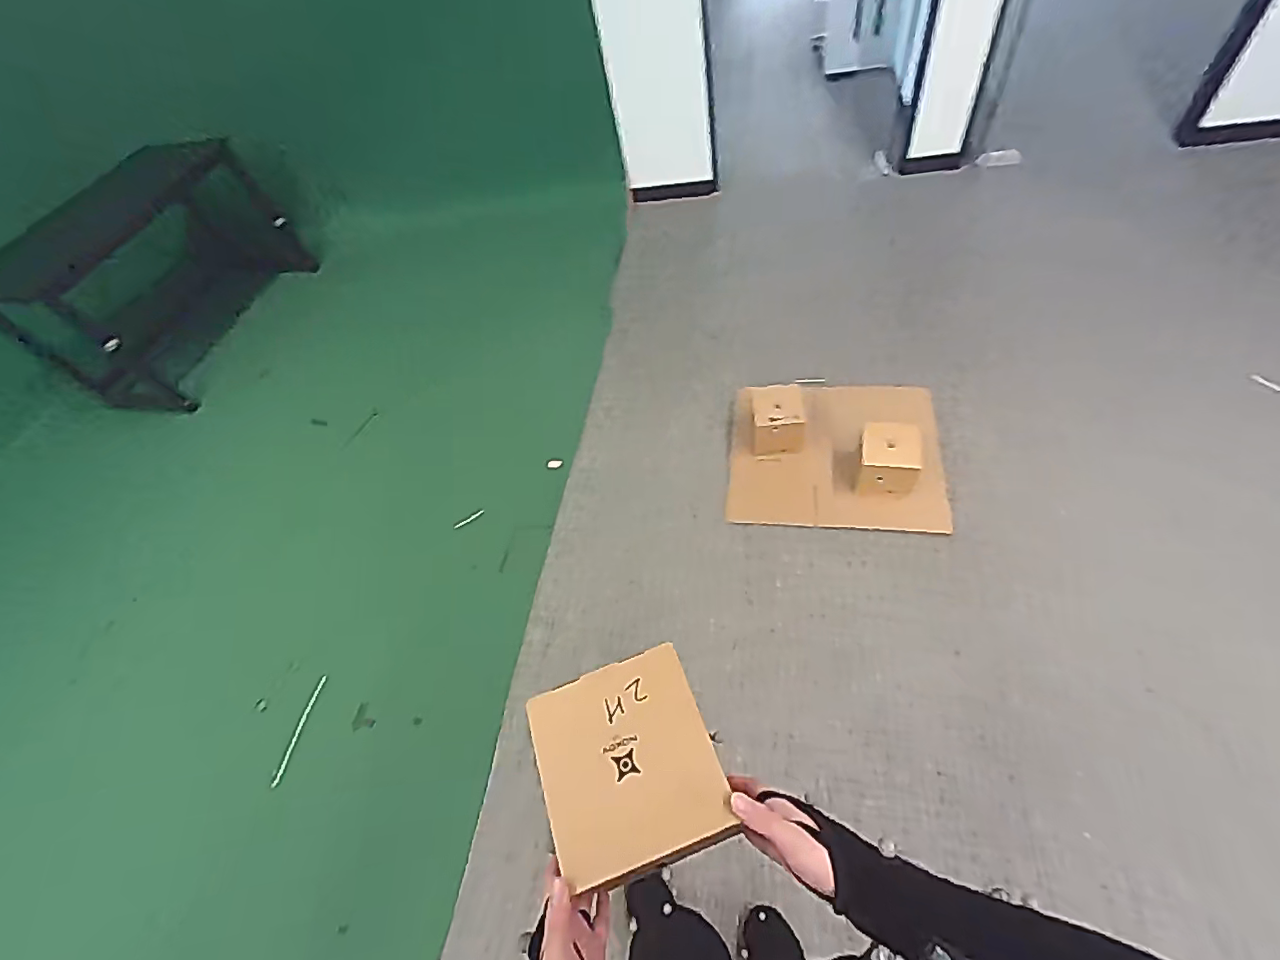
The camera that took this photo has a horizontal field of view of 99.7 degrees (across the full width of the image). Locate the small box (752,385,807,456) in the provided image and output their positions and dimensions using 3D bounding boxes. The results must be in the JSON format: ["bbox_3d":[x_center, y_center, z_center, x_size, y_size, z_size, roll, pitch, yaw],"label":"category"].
[{"bbox_3d":[0.481,-0.207,1.889,0.168,0.176,0.179,-5,54,9],"label":"small box"}]

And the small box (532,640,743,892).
[{"bbox_3d":[0.003,0.303,0.574,0.168,0.176,0.179,-20,53,-3],"label":"small box"}]

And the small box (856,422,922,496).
[{"bbox_3d":[0.787,-0.064,1.718,0.168,0.176,0.179,4,56,16],"label":"small box"}]
